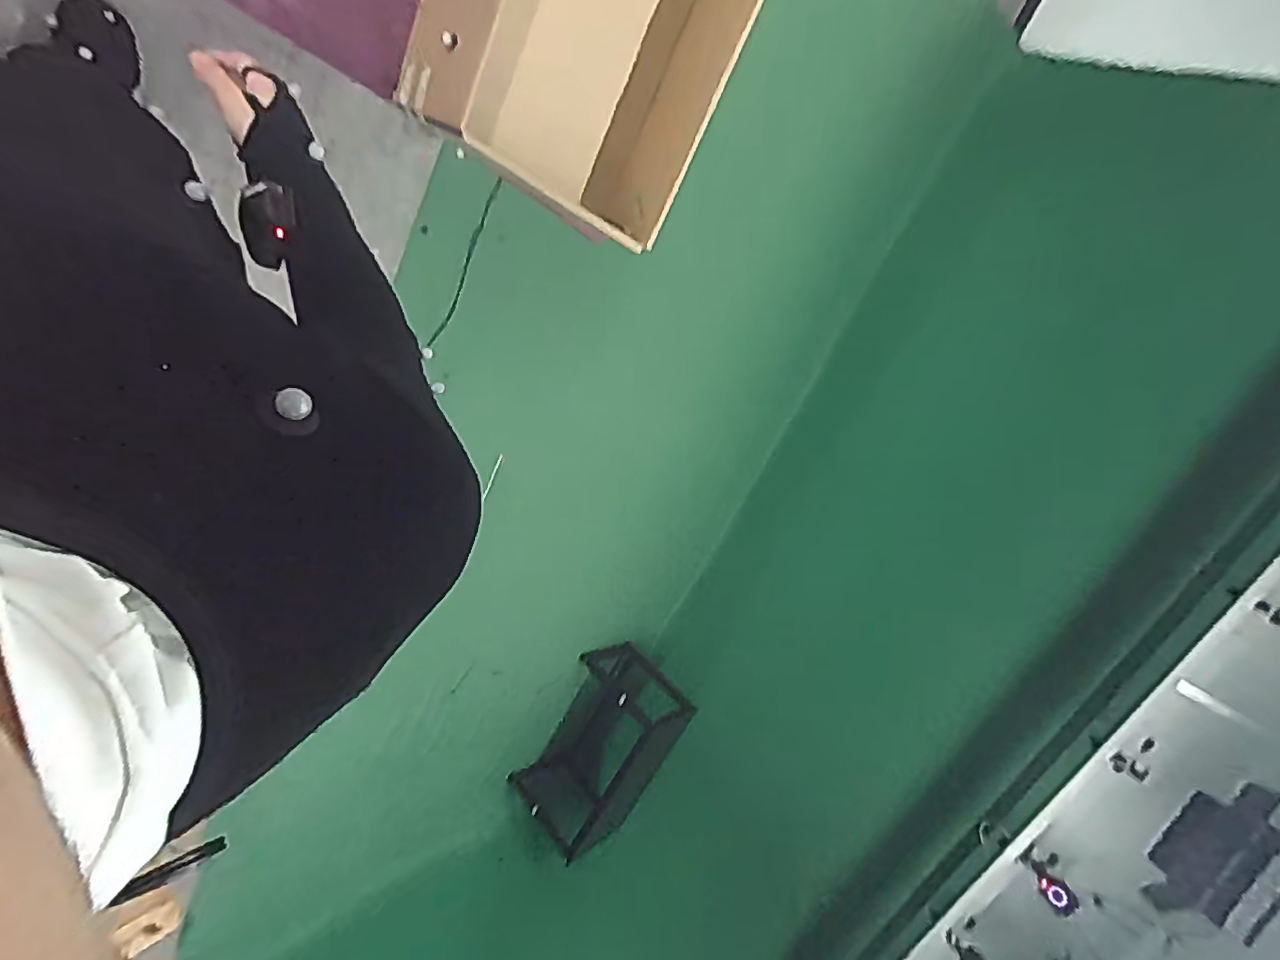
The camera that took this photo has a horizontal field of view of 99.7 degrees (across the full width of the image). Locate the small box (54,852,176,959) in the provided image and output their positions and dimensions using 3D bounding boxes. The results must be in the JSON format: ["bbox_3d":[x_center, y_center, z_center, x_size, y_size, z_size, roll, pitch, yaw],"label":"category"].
[{"bbox_3d":[-1.346,1.110,1.388,0.179,0.176,0.168,-24,139,-39],"label":"small box"}]

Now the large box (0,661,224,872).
[{"bbox_3d":[-1.573,0.834,1.606,0.408,0.320,0.320,-31,143,-34],"label":"large box"}]
